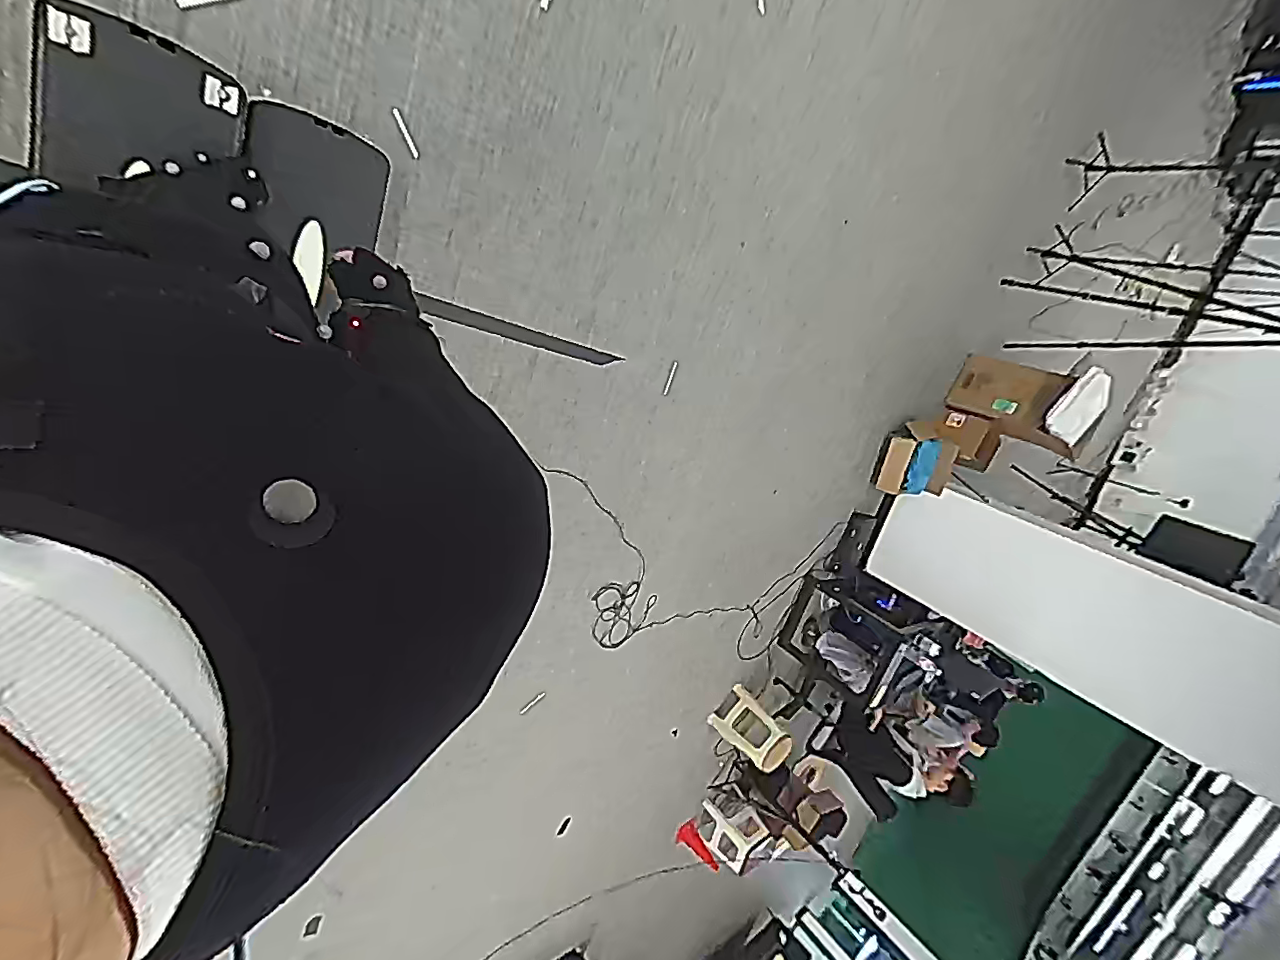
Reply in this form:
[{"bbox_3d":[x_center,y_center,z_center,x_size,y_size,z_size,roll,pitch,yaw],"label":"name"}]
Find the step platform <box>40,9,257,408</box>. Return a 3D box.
[{"bbox_3d":[-0.978,-0.488,1.079,0.286,0.204,0.684,4,110,-44],"label":"step platform"}]
